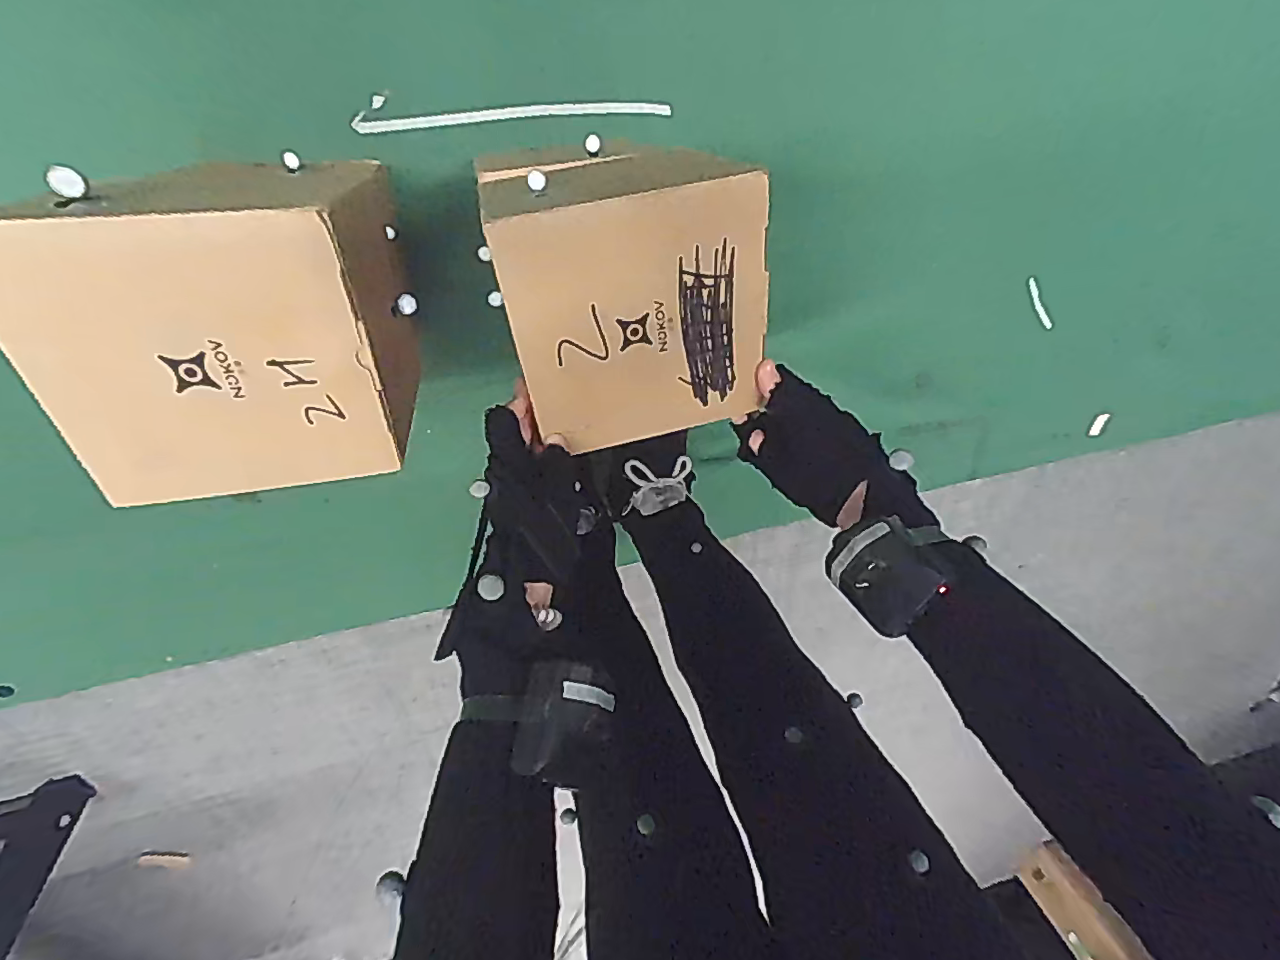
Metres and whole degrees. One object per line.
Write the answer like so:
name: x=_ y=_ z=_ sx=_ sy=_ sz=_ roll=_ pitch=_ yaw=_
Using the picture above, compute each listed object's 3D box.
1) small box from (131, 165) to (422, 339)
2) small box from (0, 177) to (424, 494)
small box: x=-0.314 y=-0.192 z=0.516 sx=0.168 sy=0.176 sz=0.179 roll=-7 pitch=125 yaw=-12
small box: x=-0.265 y=-0.111 z=0.380 sx=0.179 sy=0.176 sz=0.168 roll=-7 pitch=125 yaw=-12
